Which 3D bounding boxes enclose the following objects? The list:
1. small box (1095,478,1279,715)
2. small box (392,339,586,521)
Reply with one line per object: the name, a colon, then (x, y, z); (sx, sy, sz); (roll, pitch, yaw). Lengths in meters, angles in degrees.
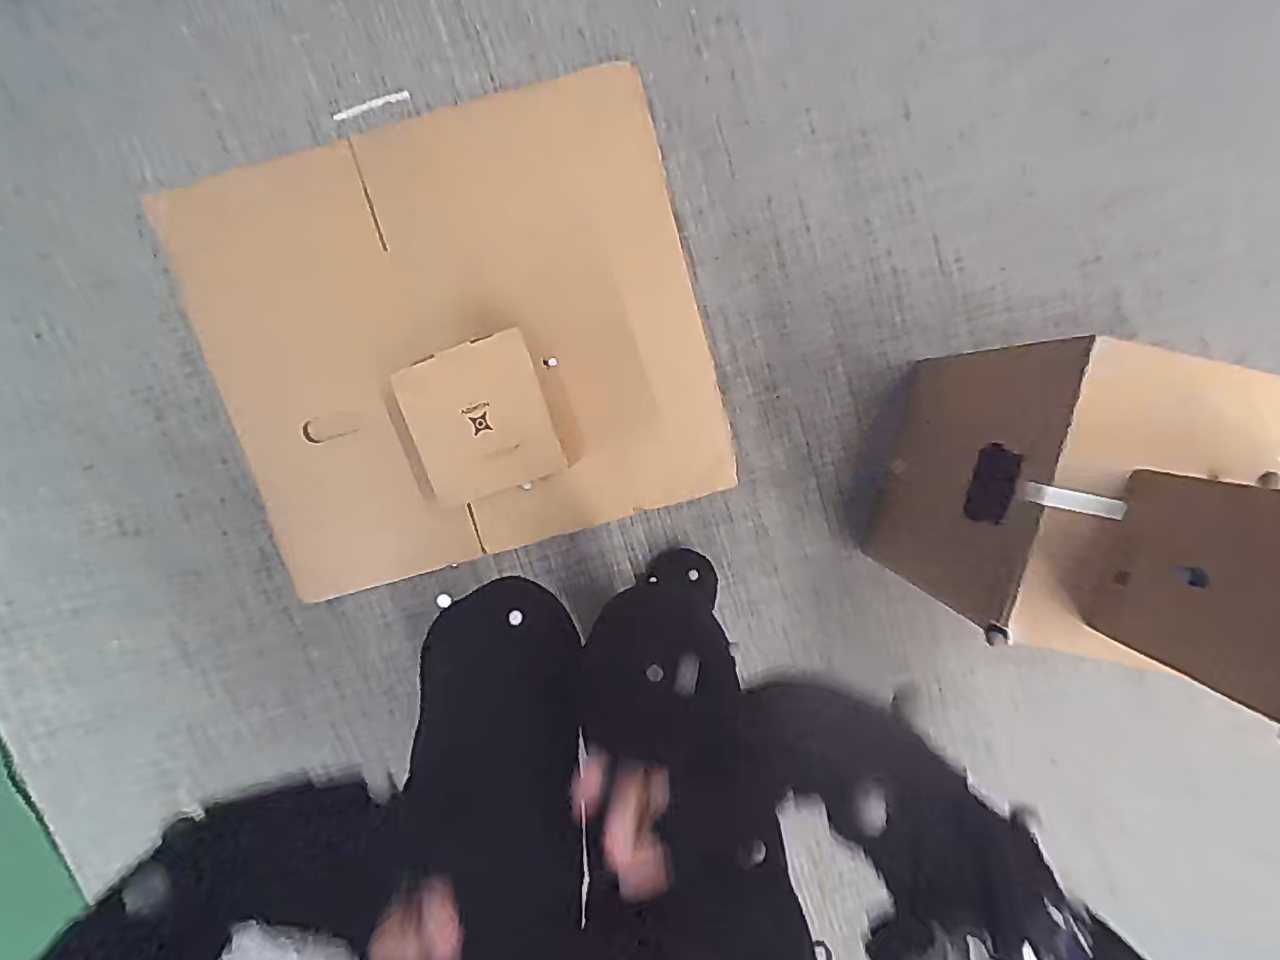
small box: (0.542, 0.092, 0.455); (0.179, 0.176, 0.168); (6, 96, -3)
small box: (-0.183, -0.067, 0.713); (0.168, 0.176, 0.179); (-20, 97, 5)
